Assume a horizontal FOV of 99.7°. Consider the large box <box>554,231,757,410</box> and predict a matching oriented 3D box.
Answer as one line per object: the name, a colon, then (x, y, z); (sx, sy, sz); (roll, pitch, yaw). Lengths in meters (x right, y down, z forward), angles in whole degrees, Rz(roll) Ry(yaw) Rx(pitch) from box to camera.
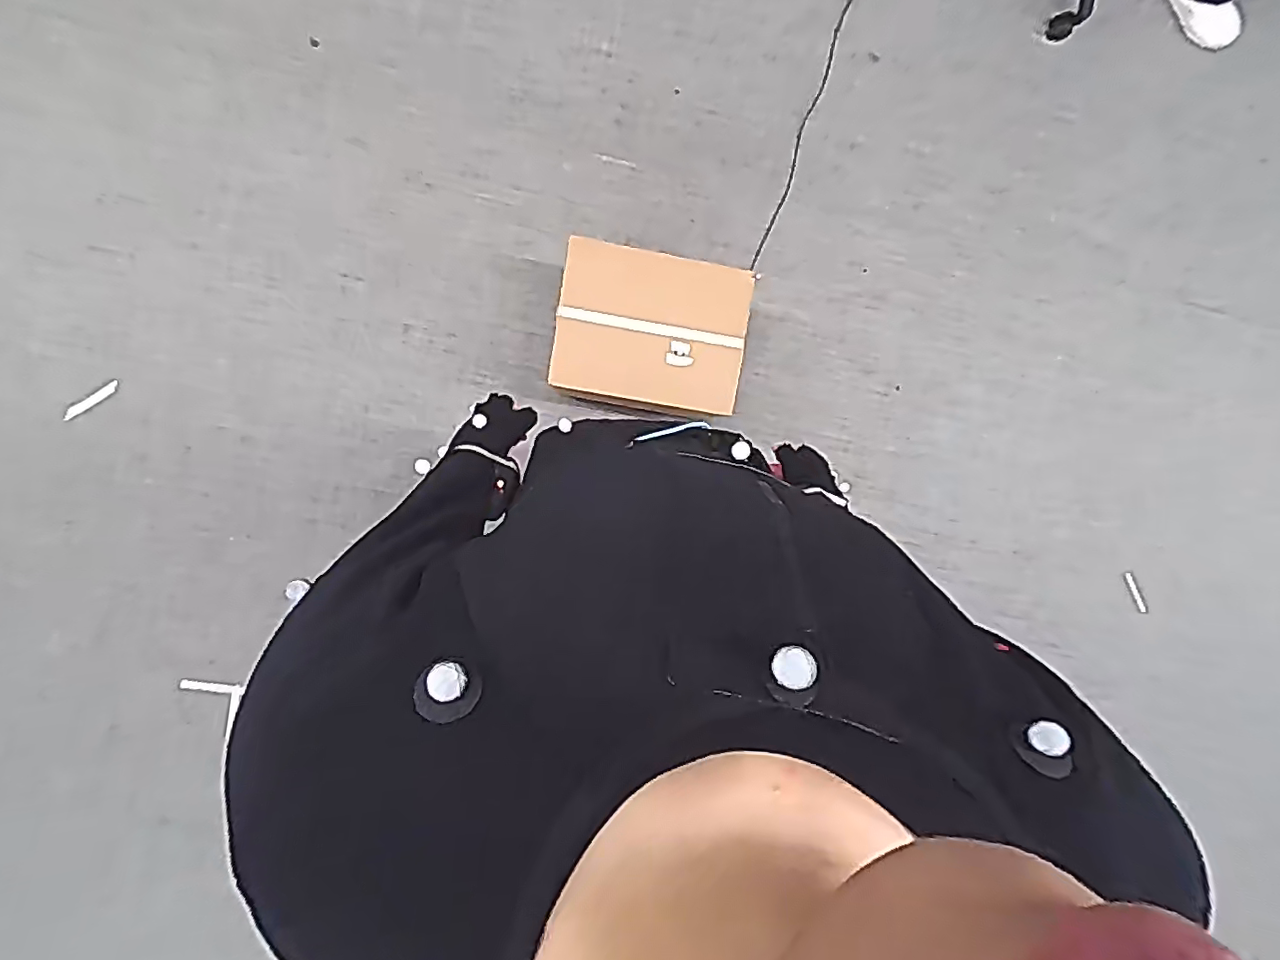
large box: (0.019, -0.355, 1.302); (0.408, 0.320, 0.320); (10, 96, -6)
